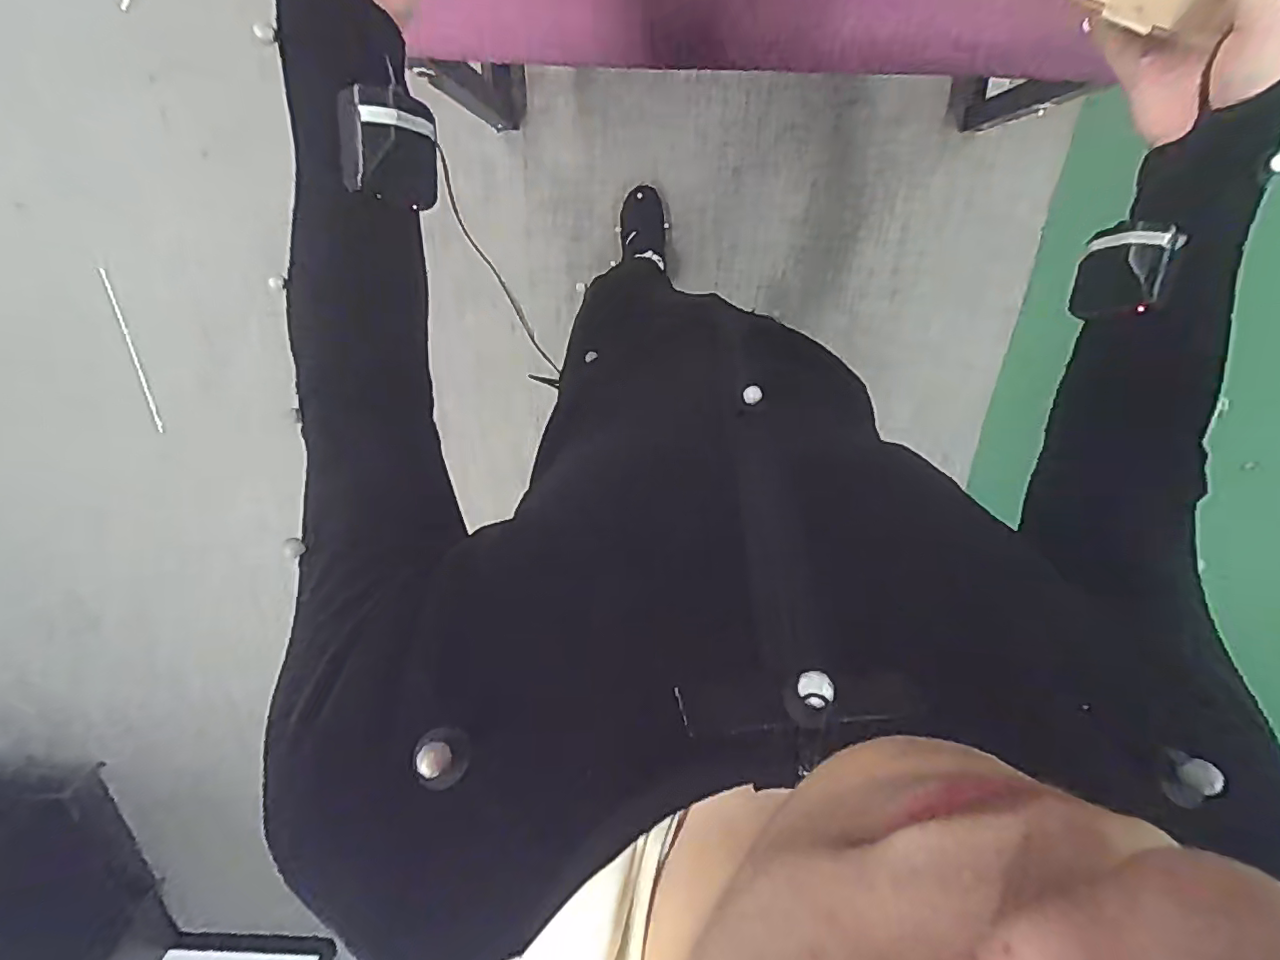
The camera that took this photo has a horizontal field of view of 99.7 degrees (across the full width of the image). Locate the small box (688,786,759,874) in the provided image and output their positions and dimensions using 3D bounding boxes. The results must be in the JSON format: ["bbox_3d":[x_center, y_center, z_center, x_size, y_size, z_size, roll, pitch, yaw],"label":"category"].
[{"bbox_3d":[0.259,1.104,1.712,0.179,0.176,0.168,11,114,-3],"label":"small box"}]
